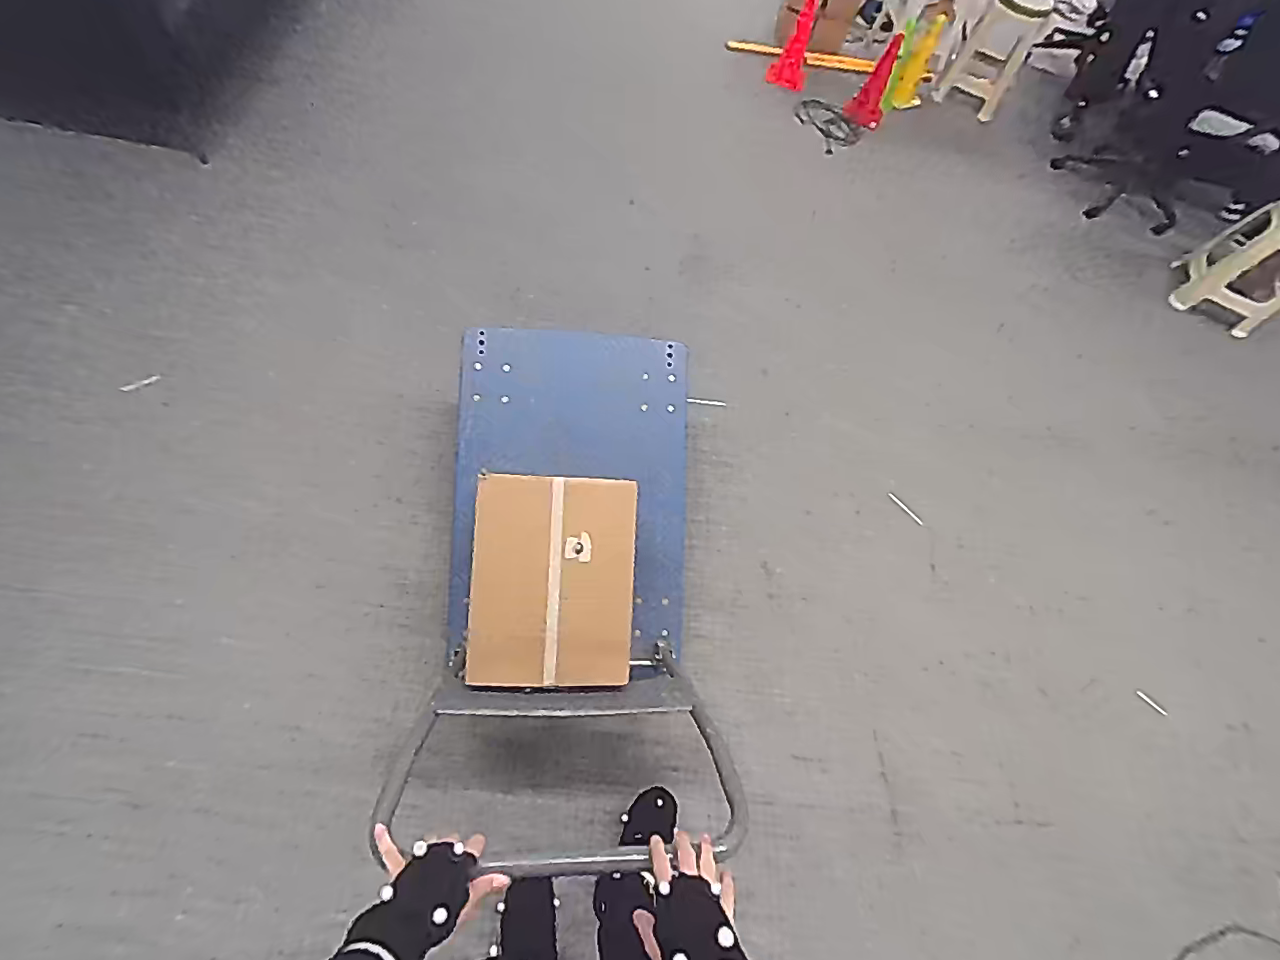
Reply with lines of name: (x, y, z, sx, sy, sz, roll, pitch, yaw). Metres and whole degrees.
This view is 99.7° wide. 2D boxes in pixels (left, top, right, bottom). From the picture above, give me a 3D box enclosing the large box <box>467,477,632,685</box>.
large box: (-0.190, 0.210, 1.205, 0.320, 0.320, 0.408, 3, 85, -8)
